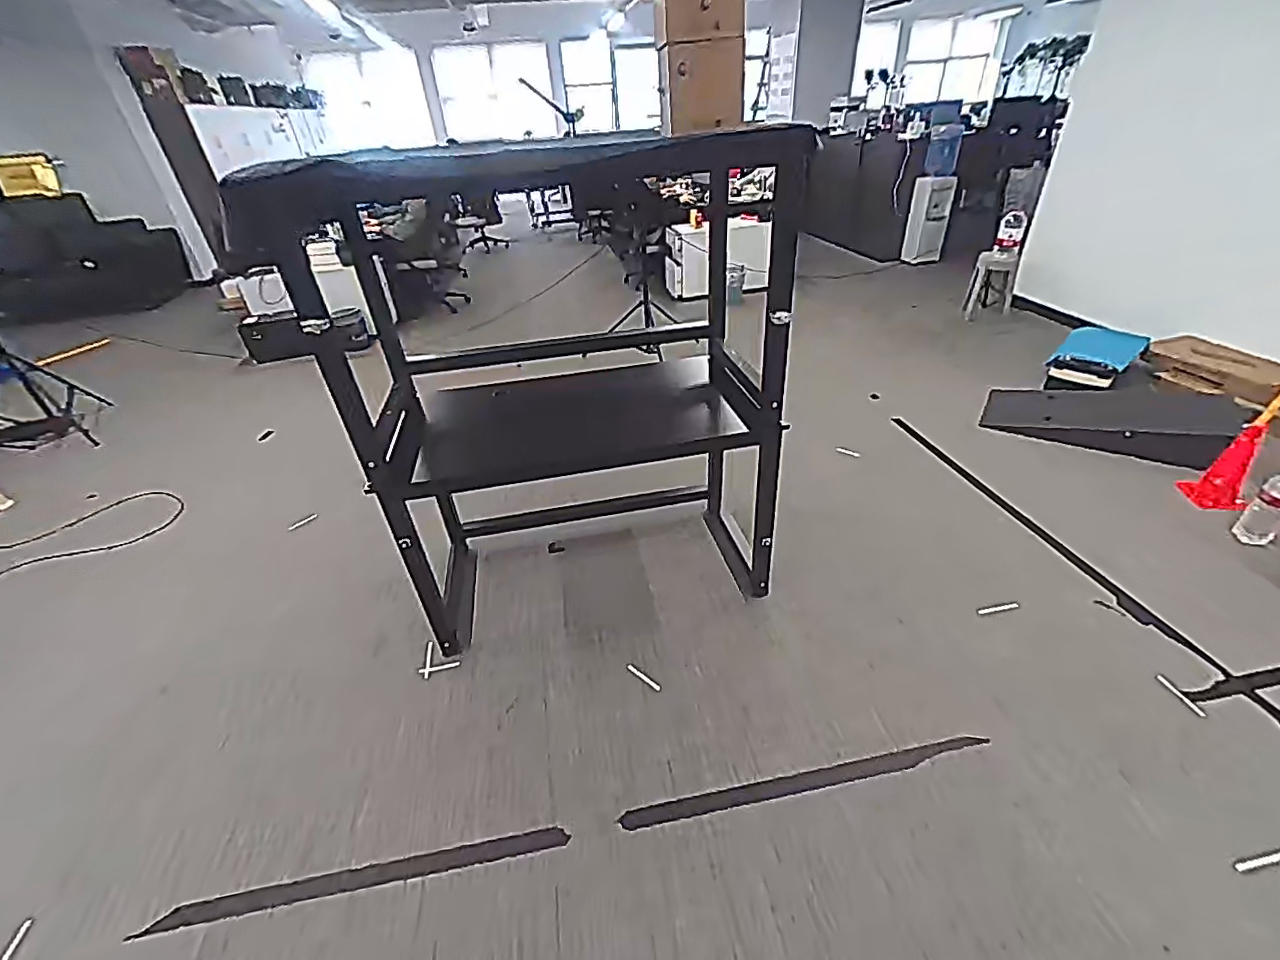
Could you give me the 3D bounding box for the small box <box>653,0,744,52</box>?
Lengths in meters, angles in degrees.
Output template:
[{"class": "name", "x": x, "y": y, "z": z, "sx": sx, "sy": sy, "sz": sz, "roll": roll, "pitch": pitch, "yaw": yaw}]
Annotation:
[{"class": "small box", "x": 0.117, "y": -1.016, "z": 1.132, "sx": 0.168, "sy": 0.176, "sz": 0.179, "roll": -8, "pitch": 34, "yaw": -3}]
